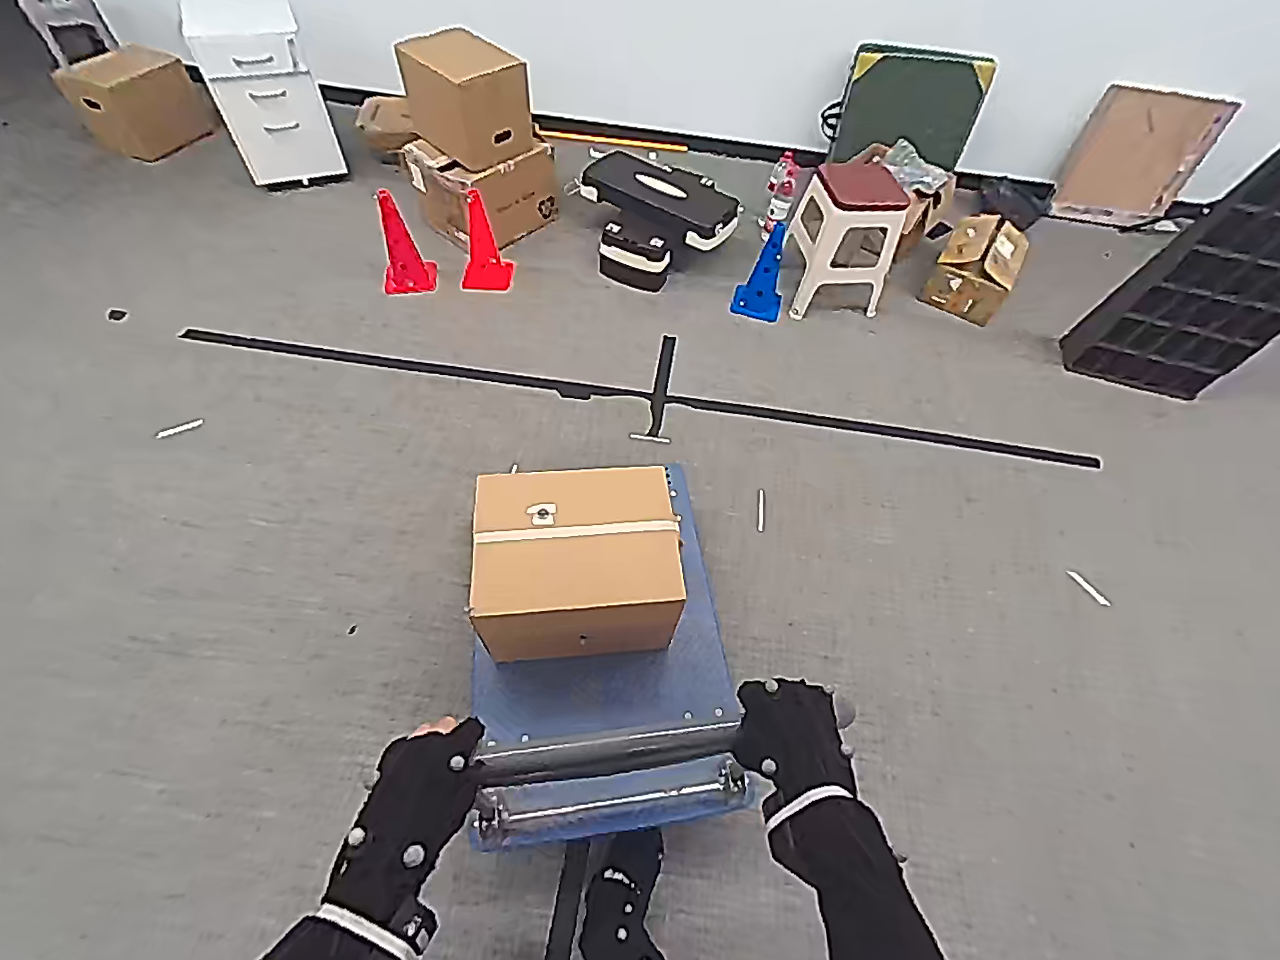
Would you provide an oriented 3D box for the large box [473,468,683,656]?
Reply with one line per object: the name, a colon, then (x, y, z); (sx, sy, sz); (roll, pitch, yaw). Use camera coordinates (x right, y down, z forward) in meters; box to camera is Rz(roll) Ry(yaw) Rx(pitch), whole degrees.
large box: (-0.136, 0.193, 1.224); (0.408, 0.320, 0.320); (-3, 57, -6)
